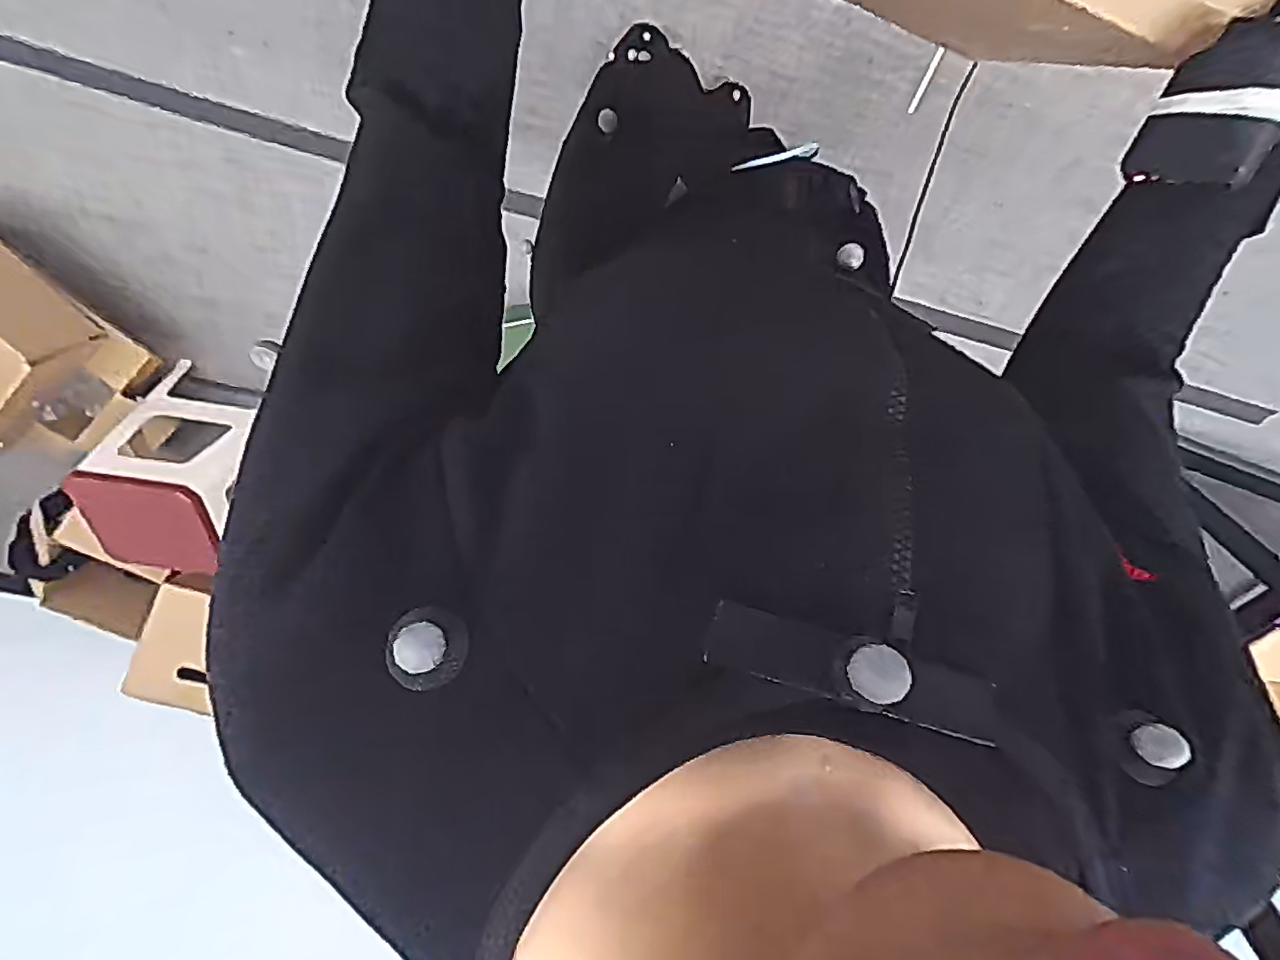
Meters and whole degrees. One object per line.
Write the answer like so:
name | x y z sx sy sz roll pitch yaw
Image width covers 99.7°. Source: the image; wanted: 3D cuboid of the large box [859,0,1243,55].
large box | 0.195 -0.508 0.316 0.408 0.320 0.320 15 129 -11
